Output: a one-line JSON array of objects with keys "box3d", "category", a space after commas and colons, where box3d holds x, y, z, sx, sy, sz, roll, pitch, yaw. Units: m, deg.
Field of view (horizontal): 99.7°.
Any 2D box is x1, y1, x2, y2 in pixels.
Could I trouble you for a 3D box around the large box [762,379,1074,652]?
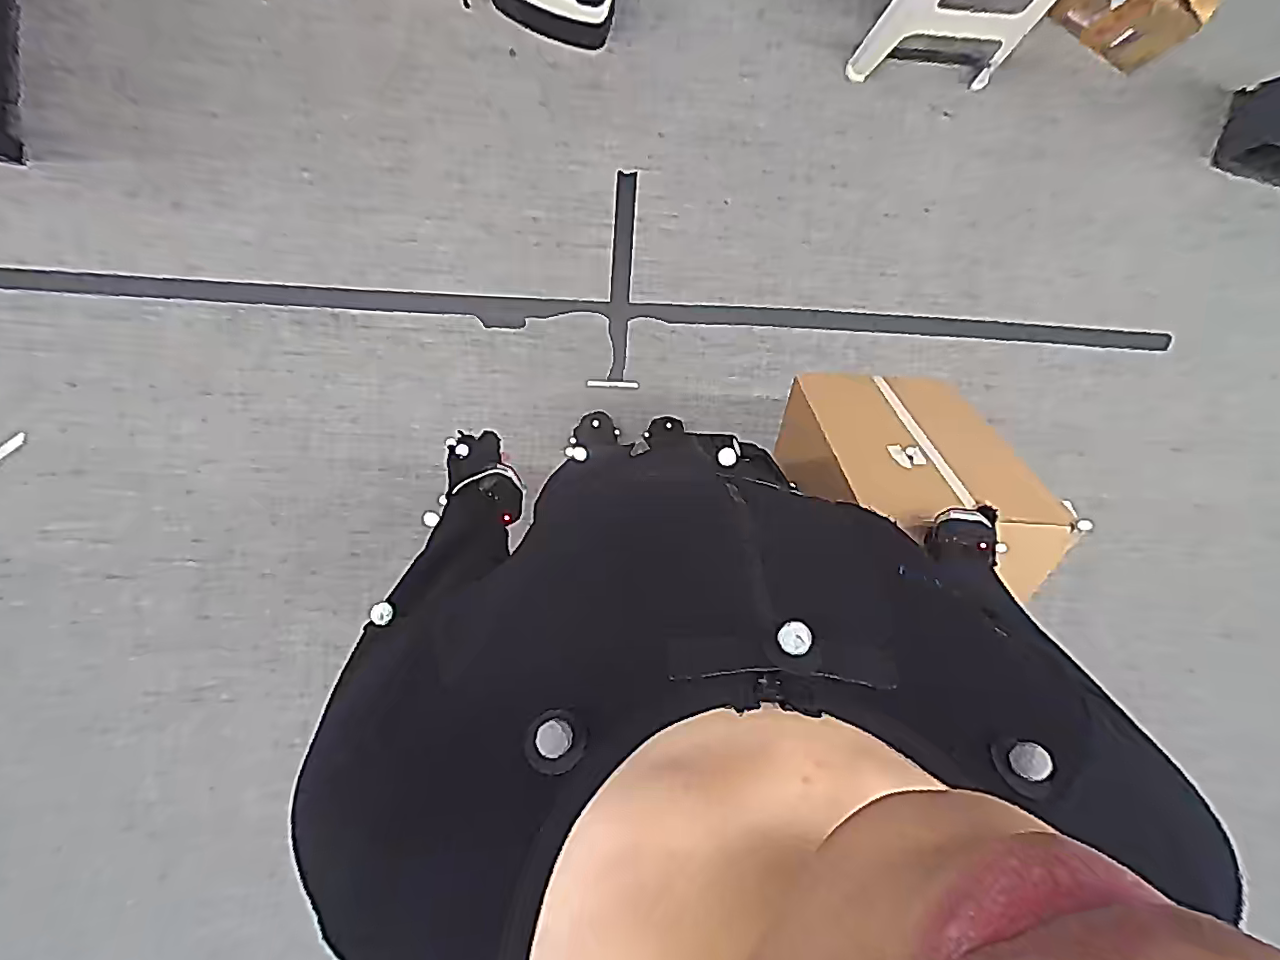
[{"box3d": [0.444, 0.056, 0.996, 0.320, 0.408, 0.320, 2, 130, -4], "category": "large box"}]
